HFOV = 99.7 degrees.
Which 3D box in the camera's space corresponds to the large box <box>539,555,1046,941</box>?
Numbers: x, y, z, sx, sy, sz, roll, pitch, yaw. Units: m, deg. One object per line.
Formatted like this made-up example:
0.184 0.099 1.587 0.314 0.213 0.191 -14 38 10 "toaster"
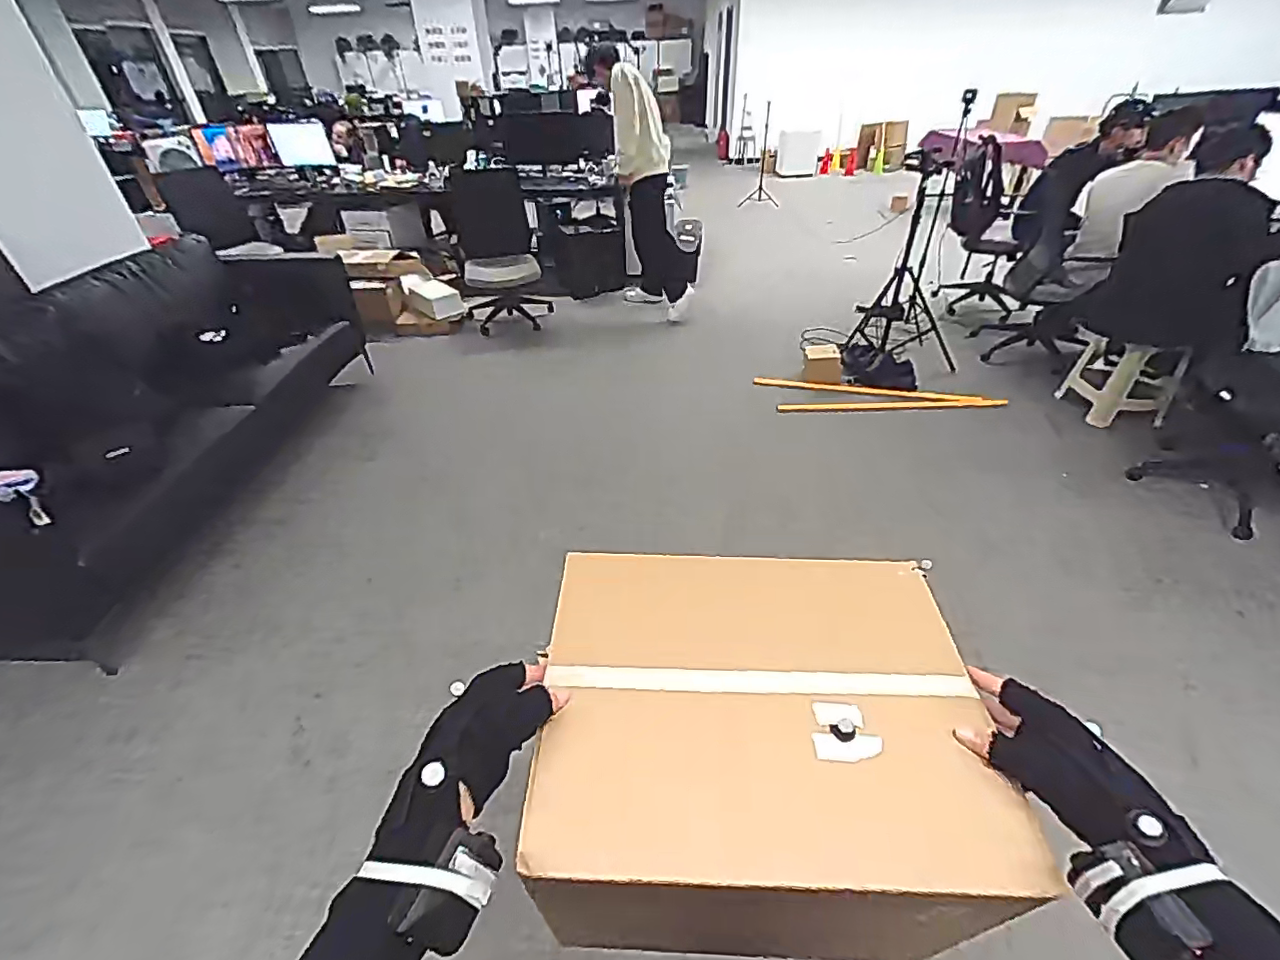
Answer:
0.116 0.305 0.624 0.408 0.320 0.320 1 42 0 "large box"
